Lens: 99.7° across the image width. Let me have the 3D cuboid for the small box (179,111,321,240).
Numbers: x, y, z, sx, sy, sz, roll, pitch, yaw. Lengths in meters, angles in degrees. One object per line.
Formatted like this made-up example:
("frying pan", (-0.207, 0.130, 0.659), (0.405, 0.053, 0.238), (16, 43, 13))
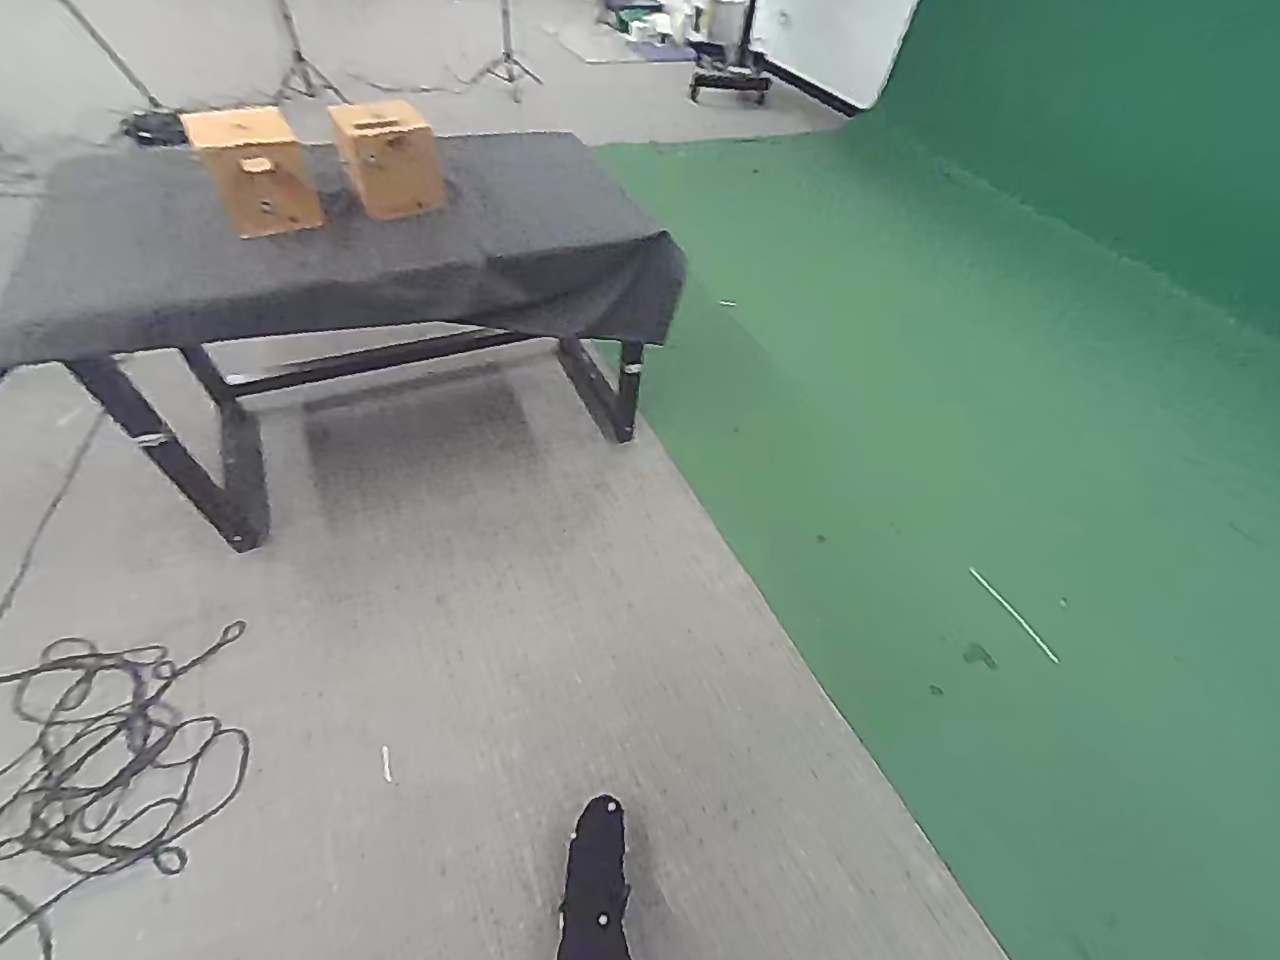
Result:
("small box", (-0.772, -0.608, 1.080), (0.168, 0.176, 0.179), (-25, 59, -25))
